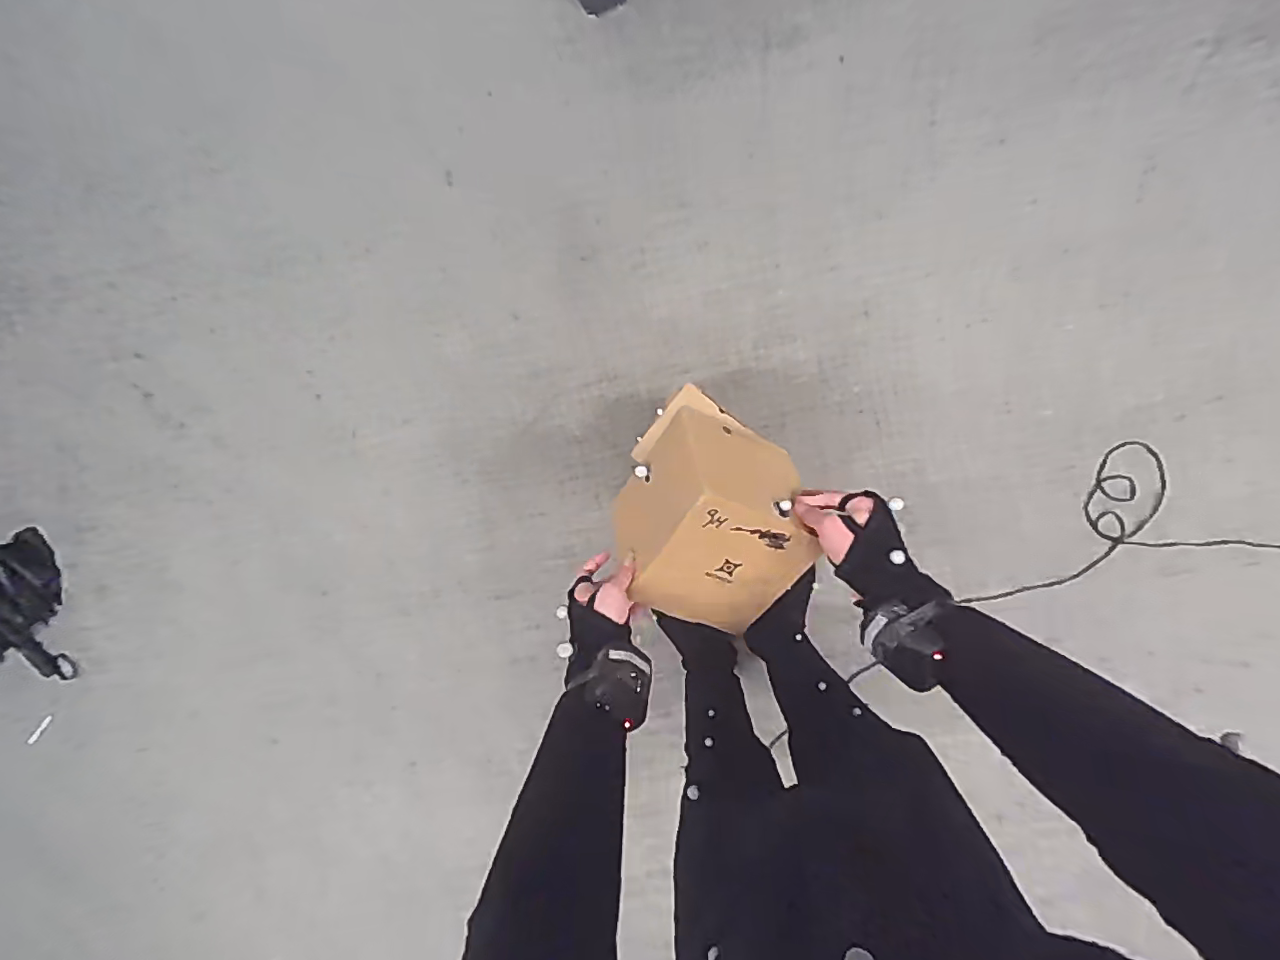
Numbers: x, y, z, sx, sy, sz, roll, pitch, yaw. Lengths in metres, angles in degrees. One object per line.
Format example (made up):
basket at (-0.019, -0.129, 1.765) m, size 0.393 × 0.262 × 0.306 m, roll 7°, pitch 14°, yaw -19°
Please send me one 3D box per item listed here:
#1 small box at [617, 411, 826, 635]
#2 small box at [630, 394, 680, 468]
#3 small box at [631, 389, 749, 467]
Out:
small box at (0.083, 0.052, 0.649) m, size 0.168 × 0.176 × 0.179 m, roll 22°, pitch 124°, yaw -22°
small box at (0.095, -0.072, 1.239) m, size 0.168 × 0.176 × 0.179 m, roll 32°, pitch 92°, yaw 2°
small box at (0.100, -0.056, 1.074) m, size 0.168 × 0.176 × 0.179 m, roll 40°, pitch 94°, yaw 2°
